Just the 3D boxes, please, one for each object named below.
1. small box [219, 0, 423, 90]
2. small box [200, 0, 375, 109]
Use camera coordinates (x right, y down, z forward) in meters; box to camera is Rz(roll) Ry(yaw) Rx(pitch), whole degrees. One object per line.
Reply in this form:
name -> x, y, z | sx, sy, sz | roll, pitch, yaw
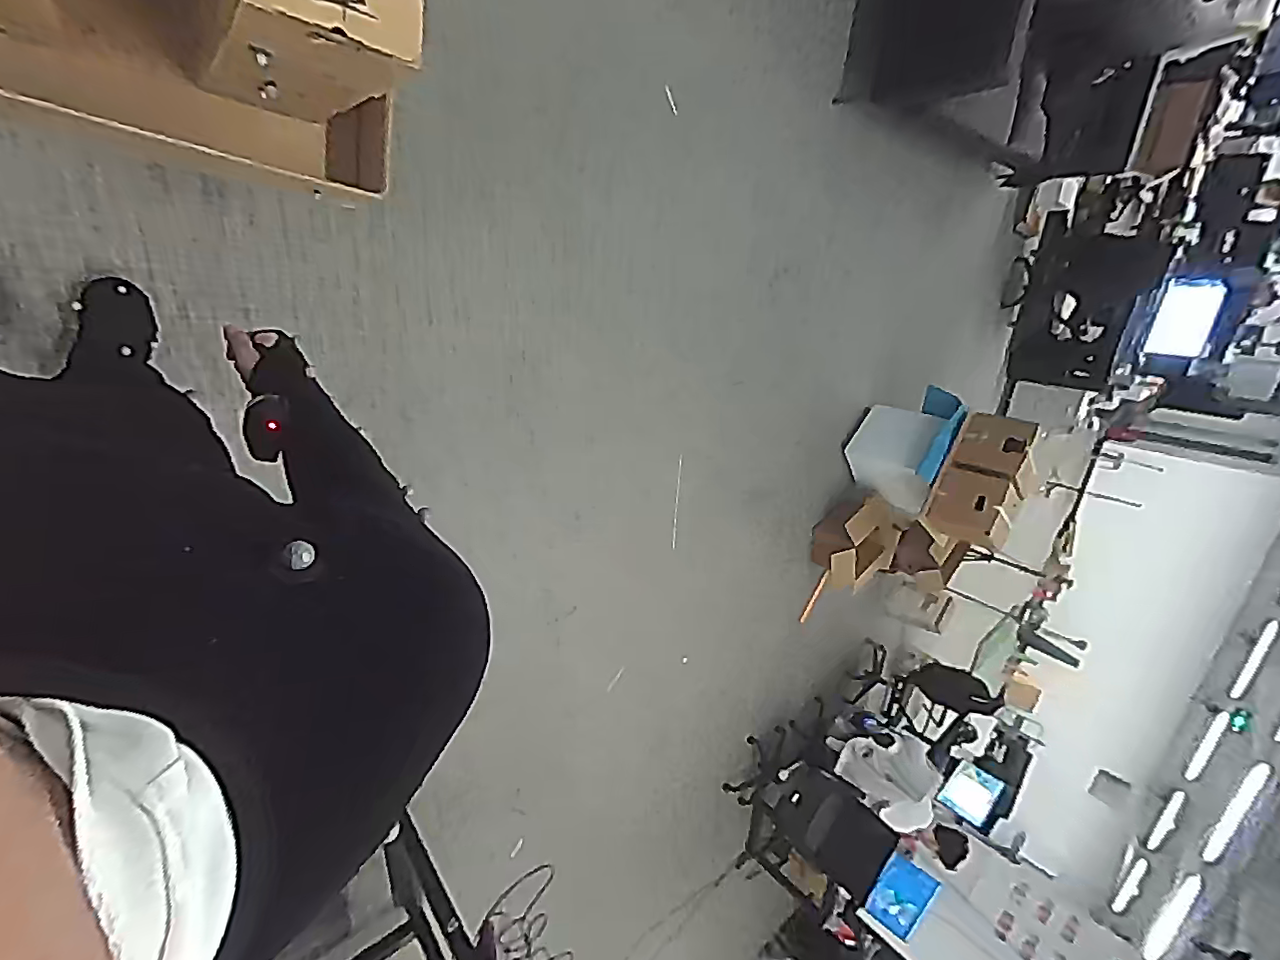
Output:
small box -> -0.340, -0.550, 0.573 | 0.168, 0.176, 0.179 | -7, 112, -41
small box -> -0.447, -0.606, 0.684 | 0.168, 0.176, 0.179 | -7, 114, -42
